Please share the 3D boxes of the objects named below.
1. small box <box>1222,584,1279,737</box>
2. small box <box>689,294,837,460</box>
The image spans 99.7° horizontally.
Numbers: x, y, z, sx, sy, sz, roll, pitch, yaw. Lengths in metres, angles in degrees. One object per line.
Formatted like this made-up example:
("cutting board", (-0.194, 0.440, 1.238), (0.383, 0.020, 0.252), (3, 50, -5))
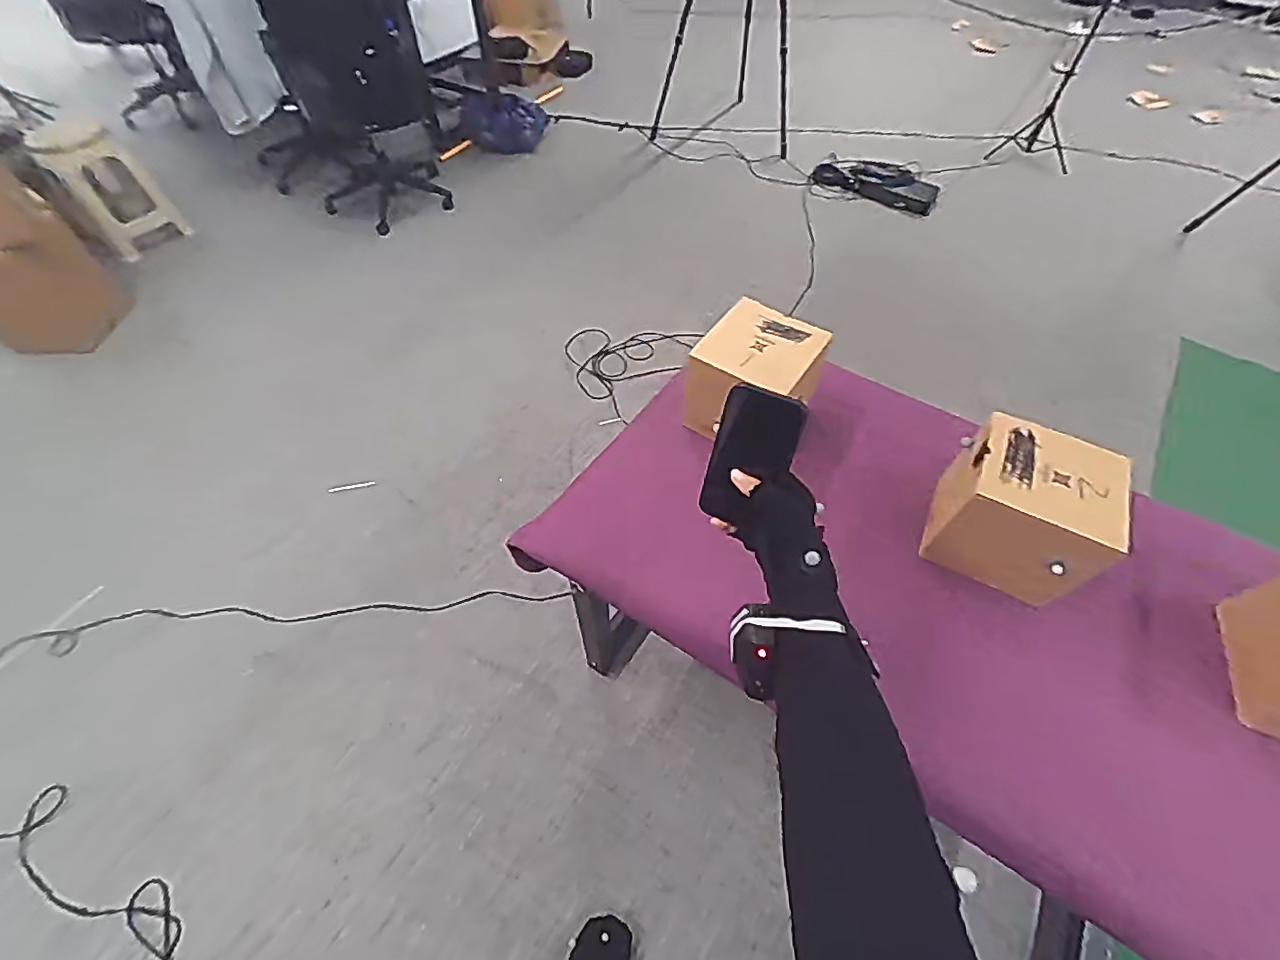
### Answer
("small box", (0.854, 0.226, 0.632), (0.168, 0.176, 0.179), (21, 56, 14))
("small box", (0.193, -0.169, 0.899), (0.168, 0.176, 0.179), (31, 61, 20))
